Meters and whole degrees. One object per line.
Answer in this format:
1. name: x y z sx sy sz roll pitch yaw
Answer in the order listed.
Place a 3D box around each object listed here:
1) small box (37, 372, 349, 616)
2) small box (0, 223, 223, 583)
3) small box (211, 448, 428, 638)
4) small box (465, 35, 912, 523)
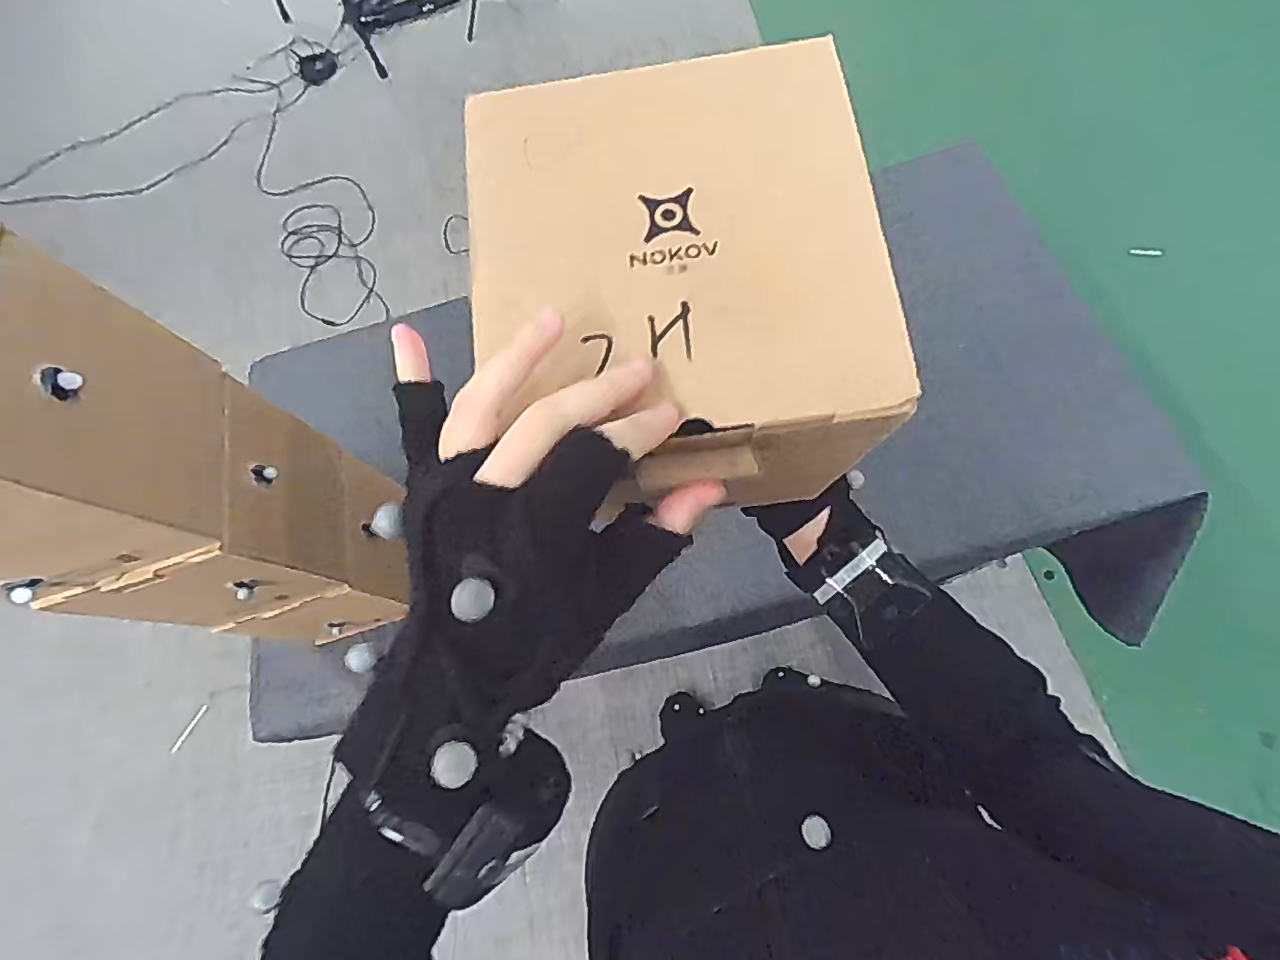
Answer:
1. small box: -0.413 0.028 0.533 0.168 0.176 0.179 -16 68 2
2. small box: -0.438 -0.035 0.383 0.168 0.176 0.179 -17 68 1
3. small box: -0.391 0.088 0.682 0.168 0.176 0.179 -17 68 2
4. small box: 0.016 -0.081 0.294 0.168 0.176 0.179 -7 77 4
